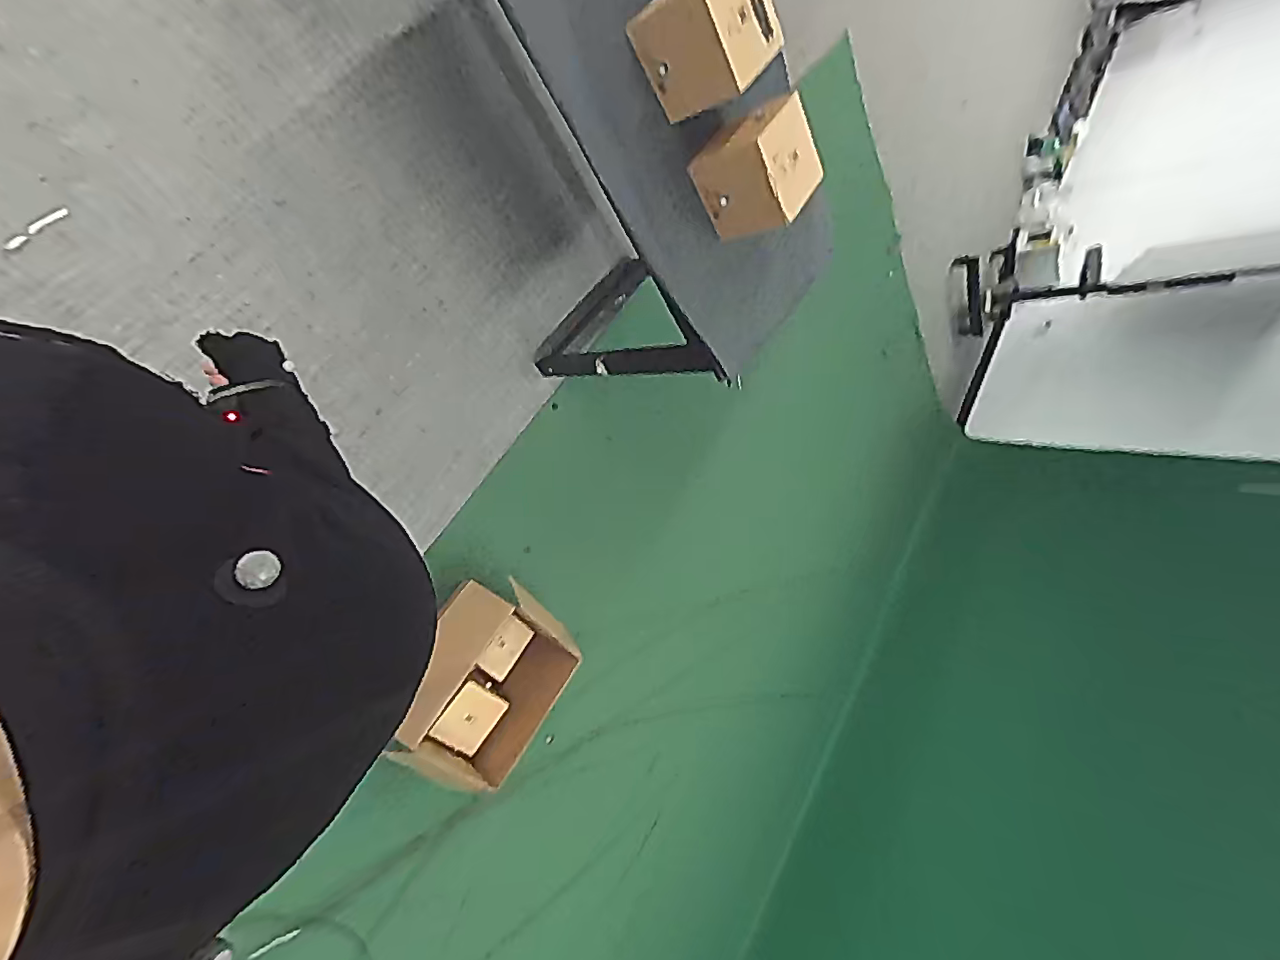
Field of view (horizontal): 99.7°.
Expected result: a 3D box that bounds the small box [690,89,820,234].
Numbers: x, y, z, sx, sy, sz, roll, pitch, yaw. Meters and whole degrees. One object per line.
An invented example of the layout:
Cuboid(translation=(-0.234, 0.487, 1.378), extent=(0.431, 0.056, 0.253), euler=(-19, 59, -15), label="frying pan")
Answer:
Cuboid(translation=(0.229, -0.626, 1.080), extent=(0.179, 0.176, 0.168), euler=(-56, 130, -22), label="small box")
